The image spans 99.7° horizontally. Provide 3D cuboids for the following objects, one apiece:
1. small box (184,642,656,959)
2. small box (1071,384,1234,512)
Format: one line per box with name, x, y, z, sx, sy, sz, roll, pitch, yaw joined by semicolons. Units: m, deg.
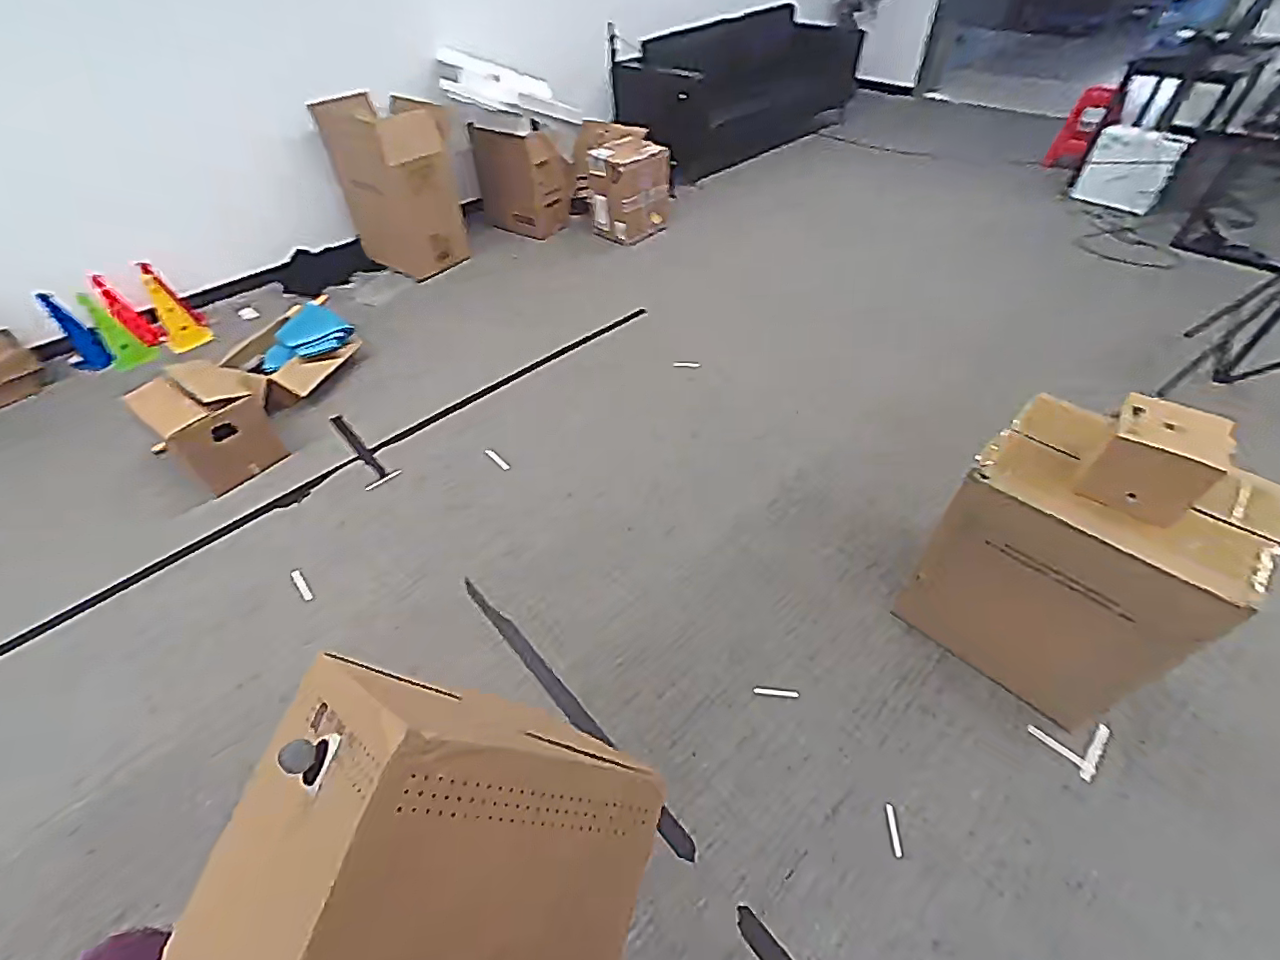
small box;-0.117;0.211;0.315;0.168;0.179;0.176;-6;58;50
small box;1.036;-0.060;1.102;0.179;0.176;0.168;28;56;26
